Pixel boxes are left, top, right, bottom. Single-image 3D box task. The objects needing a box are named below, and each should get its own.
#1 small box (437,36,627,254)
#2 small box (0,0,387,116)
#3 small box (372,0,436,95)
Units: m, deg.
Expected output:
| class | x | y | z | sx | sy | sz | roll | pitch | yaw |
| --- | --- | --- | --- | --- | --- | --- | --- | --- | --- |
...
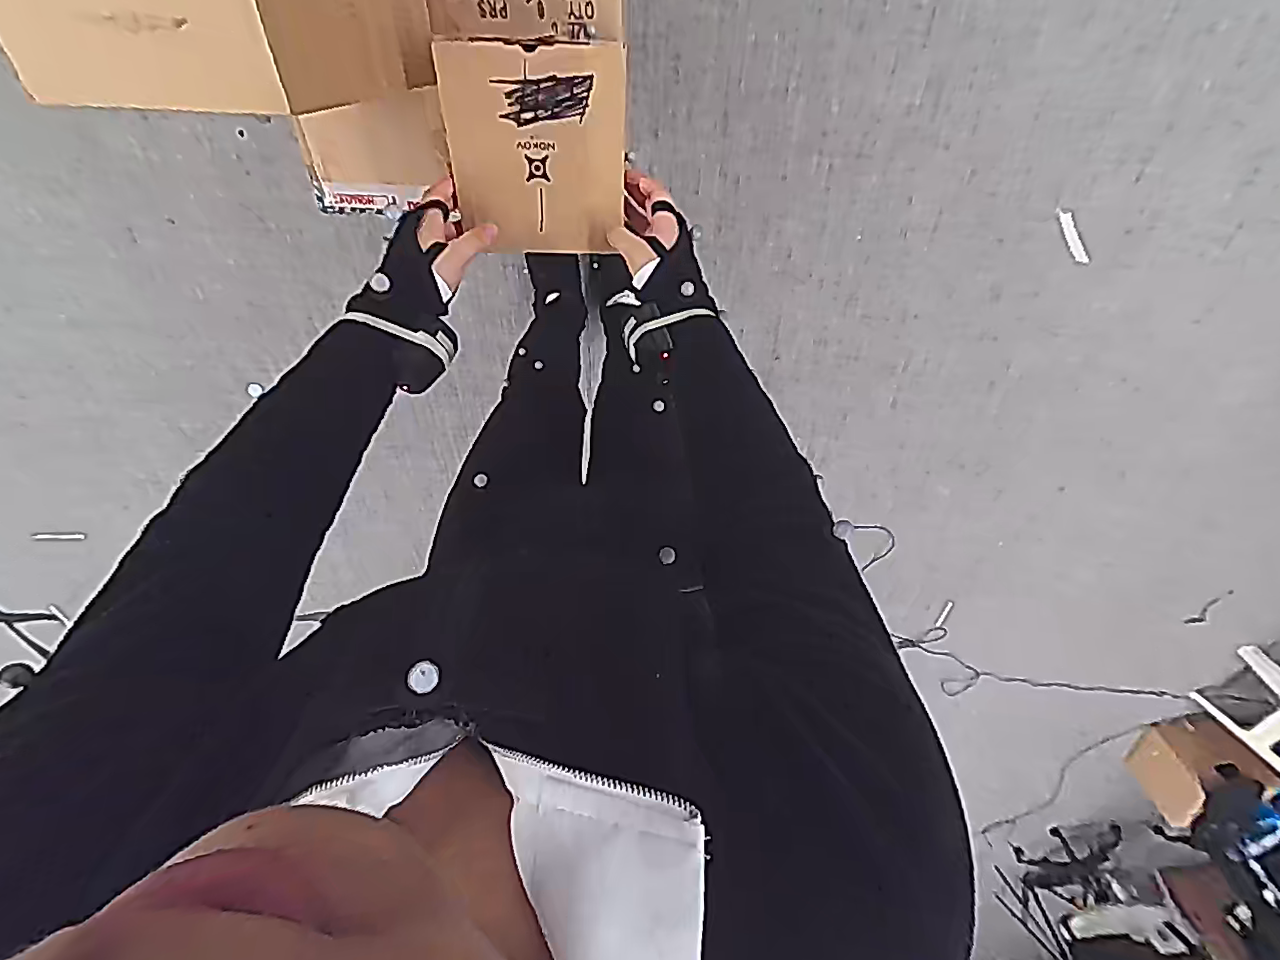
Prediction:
| class | x | y | z | sx | sy | sz | roll | pitch | yaw |
| --- | --- | --- | --- | --- | --- | --- | --- | --- | --- |
| small box | -0.101 | -0.359 | 0.579 | 0.168 | 0.176 | 0.179 | 0 | 130 | -3 |
| small box | -0.297 | -0.359 | 0.360 | 0.168 | 0.176 | 0.179 | 3 | 129 | -1 |
| small box | -0.301 | -0.462 | 0.487 | 0.168 | 0.176 | 0.179 | 1 | 129 | -2 |
